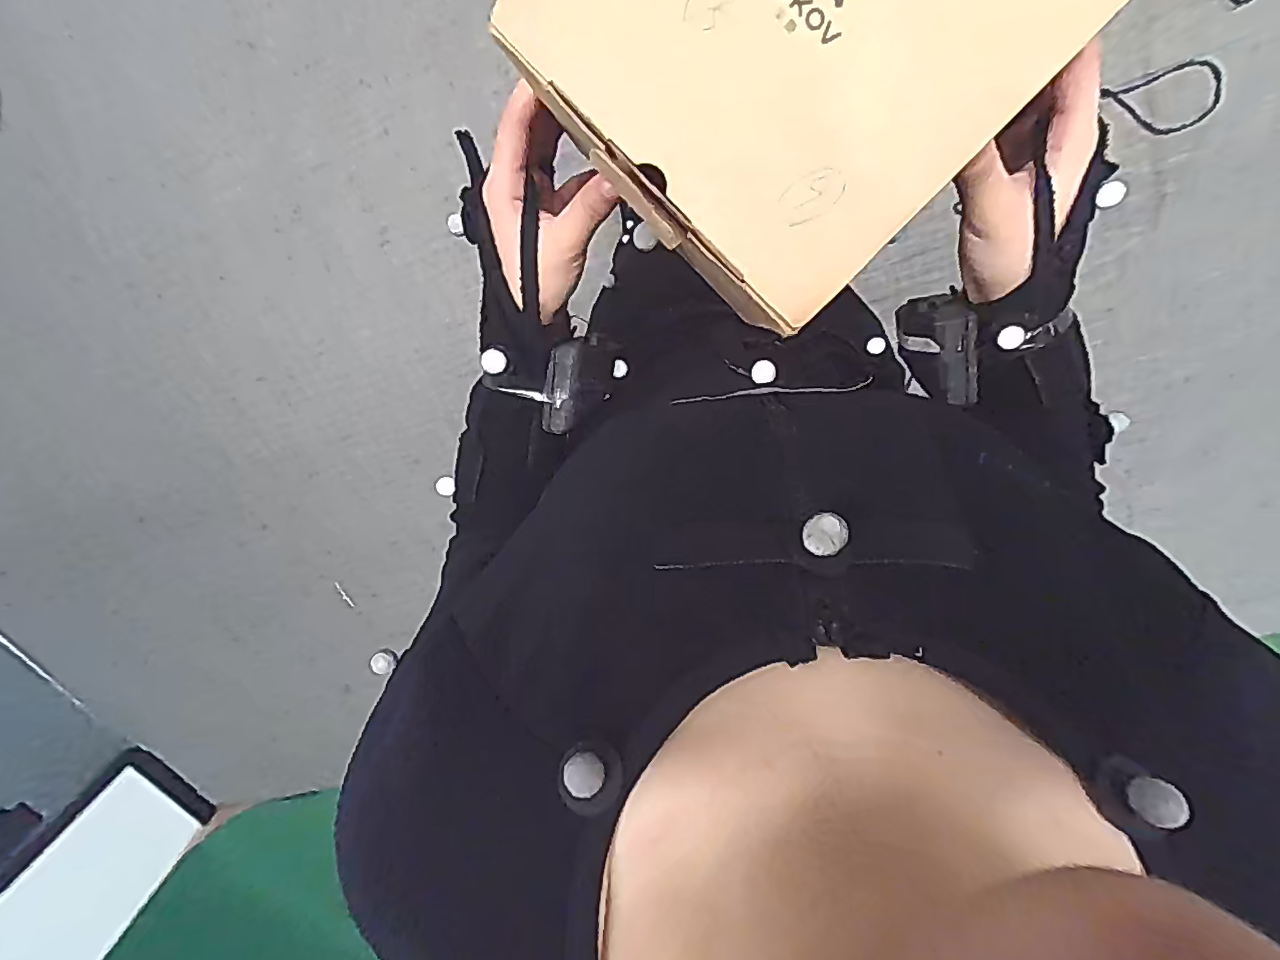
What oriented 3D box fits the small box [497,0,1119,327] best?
[{"bbox_3d":[0.068,-0.198,0.269,0.168,0.176,0.179,43,107,-8],"label":"small box"}]
